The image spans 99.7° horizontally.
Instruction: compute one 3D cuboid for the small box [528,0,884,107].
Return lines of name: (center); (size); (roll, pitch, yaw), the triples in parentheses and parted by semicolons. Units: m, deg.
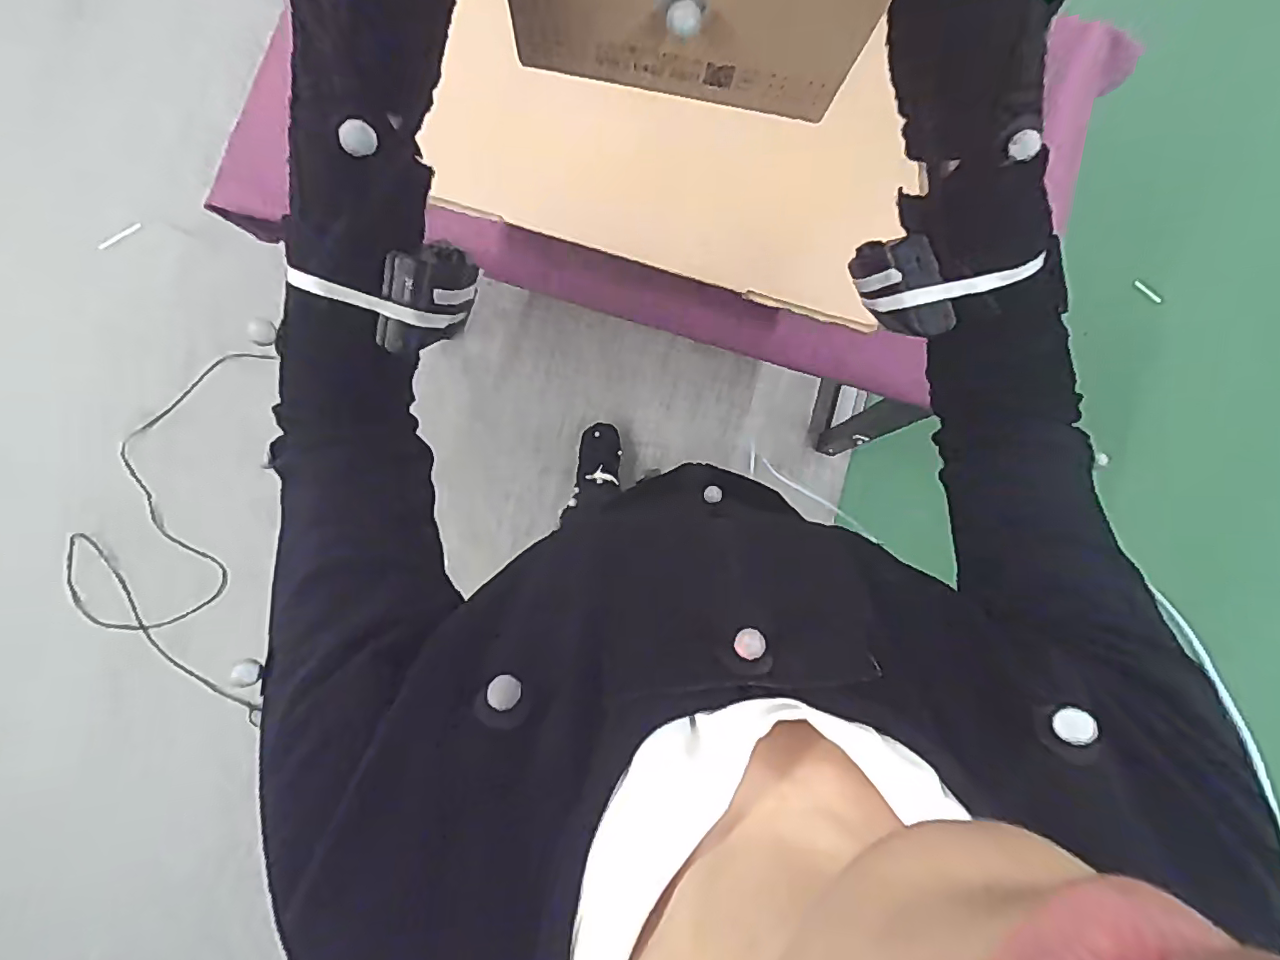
small box: (0.039, -0.298, 0.207); (0.168, 0.176, 0.179); (9, 87, -3)
